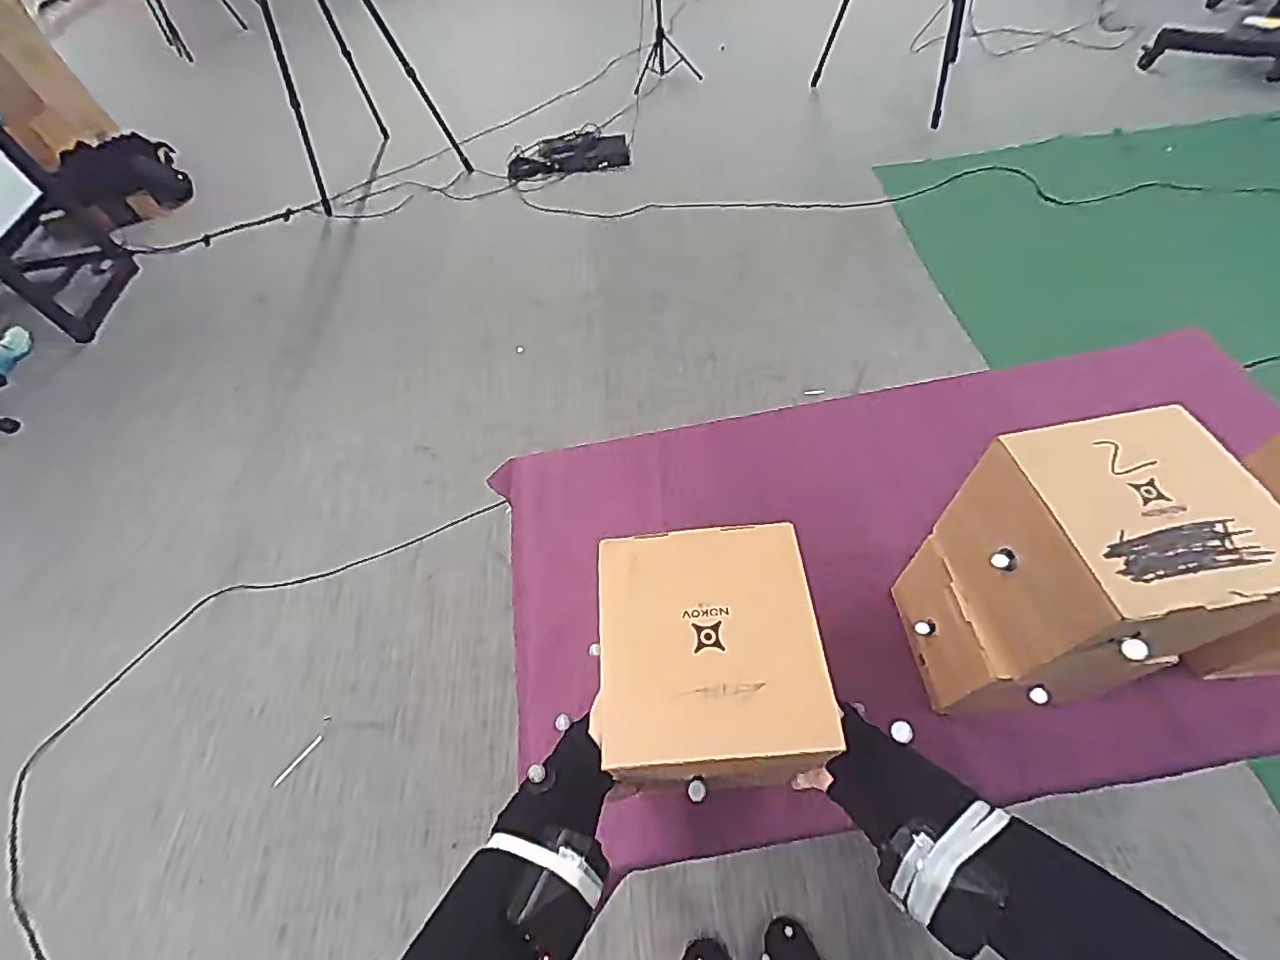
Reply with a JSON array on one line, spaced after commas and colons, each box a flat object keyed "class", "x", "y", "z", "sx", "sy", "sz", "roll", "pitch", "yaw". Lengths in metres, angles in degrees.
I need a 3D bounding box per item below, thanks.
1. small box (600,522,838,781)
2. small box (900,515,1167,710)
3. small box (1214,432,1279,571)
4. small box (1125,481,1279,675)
[{"class": "small box", "x": 0.057, "y": 0.158, "z": 0.481, "sx": 0.168, "sy": 0.176, "sz": 0.179, "roll": -5, "pitch": 56, "yaw": 3}, {"class": "small box", "x": 0.426, "y": 0.161, "z": 0.633, "sx": 0.179, "sy": 0.176, "sz": 0.168, "roll": -7, "pitch": 55, "yaw": 3}, {"class": "small box", "x": 0.717, "y": 0.019, "z": 0.492, "sx": 0.168, "sy": 0.176, "sz": 0.179, "roll": -7, "pitch": 55, "yaw": 2}, {"class": "small box", "x": 0.734, "y": 0.111, "z": 0.628, "sx": 0.168, "sy": 0.176, "sz": 0.179, "roll": -6, "pitch": 56, "yaw": 4}]
